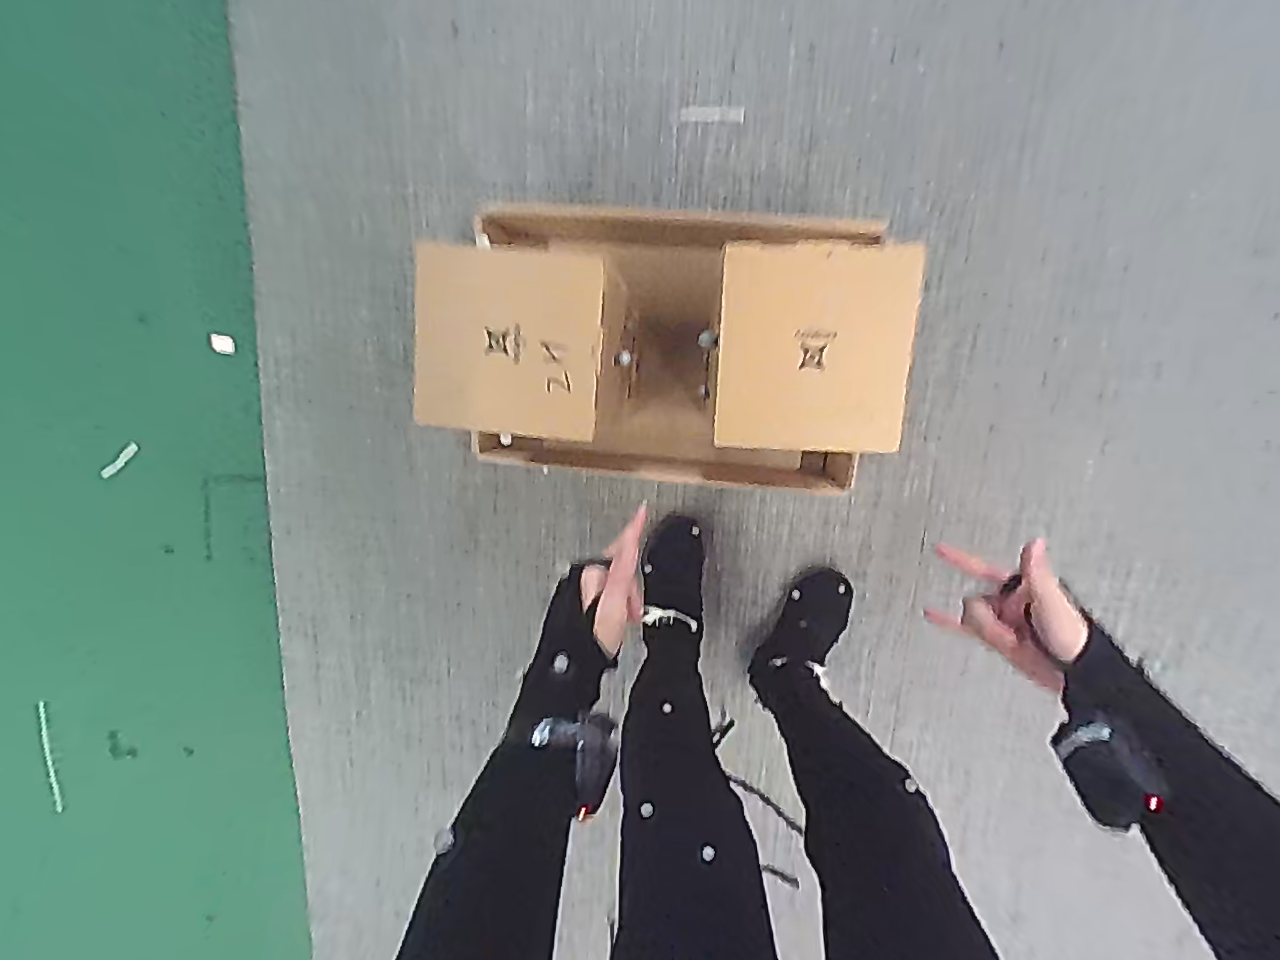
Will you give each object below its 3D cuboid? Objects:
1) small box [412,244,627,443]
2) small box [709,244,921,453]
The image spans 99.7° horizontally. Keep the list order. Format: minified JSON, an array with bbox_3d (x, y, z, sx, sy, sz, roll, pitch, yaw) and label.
[{"bbox_3d":[-0.115,-0.136,0.571,0.179,0.176,0.168,6,100,3],"label":"small box"},{"bbox_3d":[0.158,-0.129,0.547,0.168,0.176,0.179,2,102,7],"label":"small box"}]
